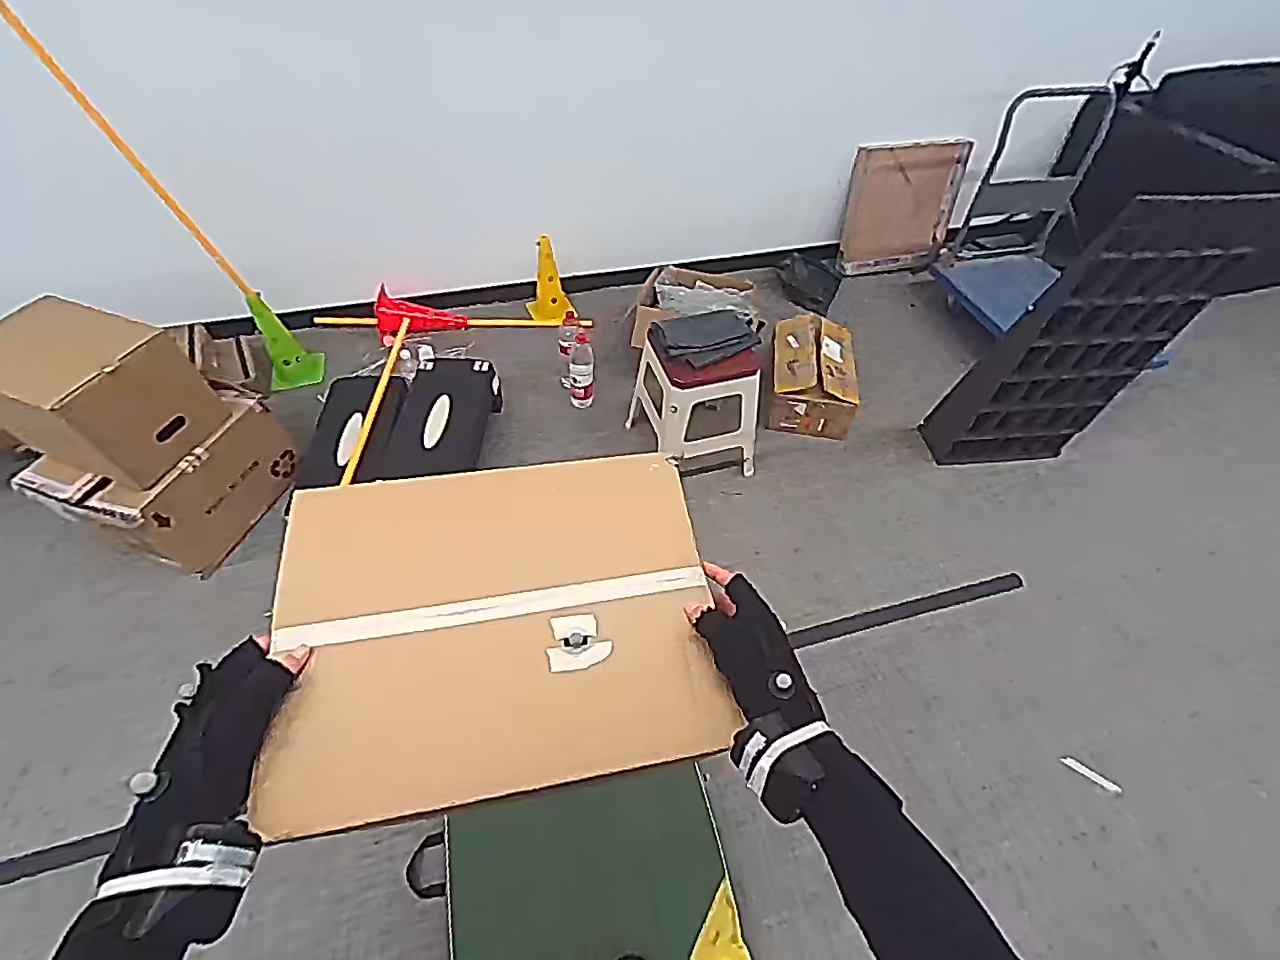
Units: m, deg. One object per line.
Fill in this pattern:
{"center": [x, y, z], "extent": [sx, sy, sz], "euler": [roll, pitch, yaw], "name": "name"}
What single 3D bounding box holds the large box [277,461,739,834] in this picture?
{"center": [-0.143, 0.207, 0.665], "extent": [0.408, 0.320, 0.320], "euler": [-6, 61, -10], "name": "large box"}
